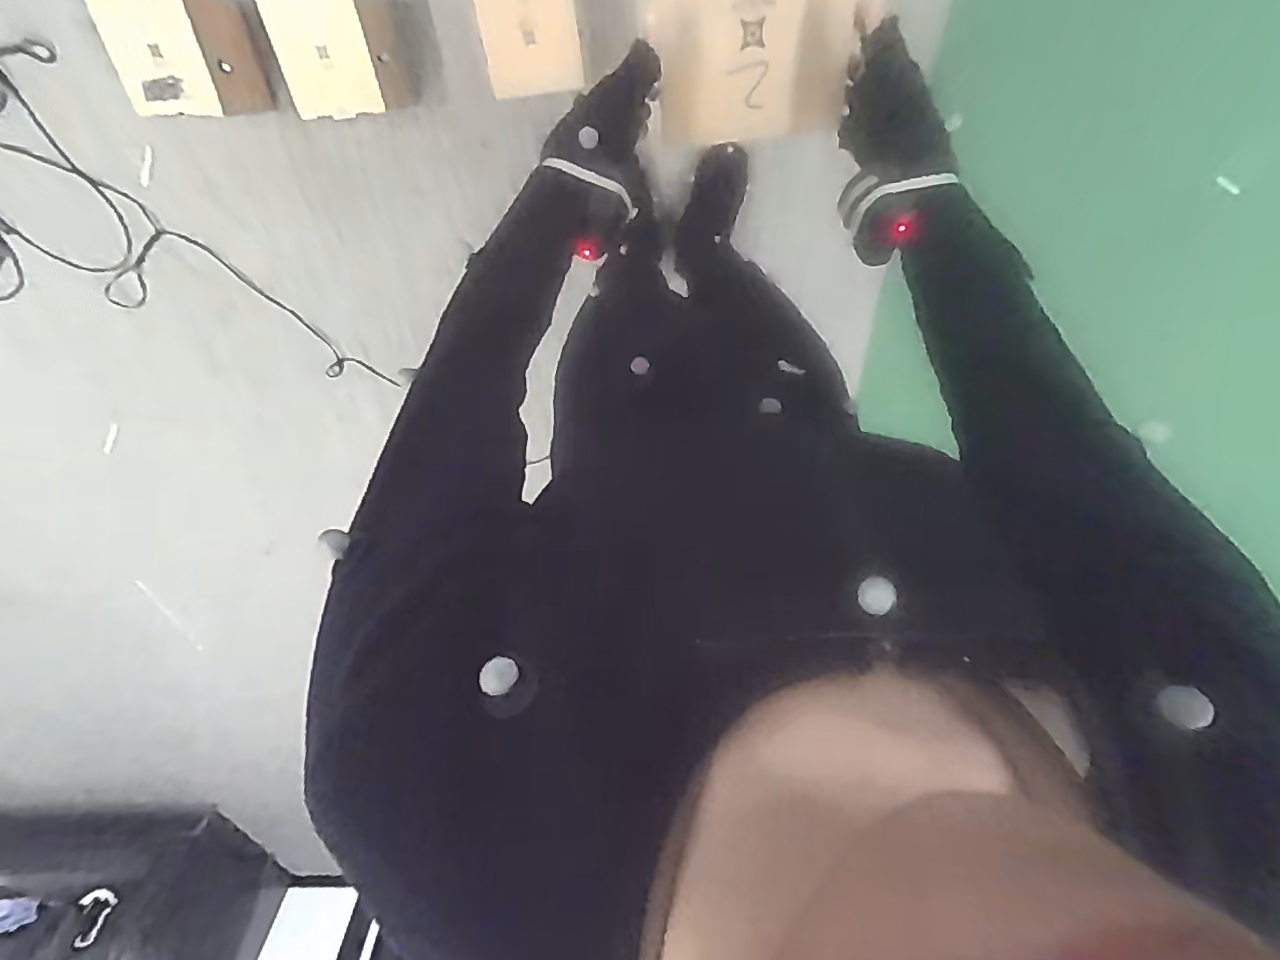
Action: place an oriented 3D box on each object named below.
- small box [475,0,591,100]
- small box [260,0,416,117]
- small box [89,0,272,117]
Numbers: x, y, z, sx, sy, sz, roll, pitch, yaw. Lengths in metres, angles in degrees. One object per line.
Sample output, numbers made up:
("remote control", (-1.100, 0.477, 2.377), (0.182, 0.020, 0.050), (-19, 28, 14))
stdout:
("small box", (-0.185, -0.808, 0.976), (0.168, 0.176, 0.179), (-5, 128, 4))
("small box", (-0.543, -0.788, 1.001), (0.168, 0.176, 0.179), (-3, 128, 4))
("small box", (-0.834, -0.789, 1.005), (0.168, 0.176, 0.179), (1, 127, 0))
